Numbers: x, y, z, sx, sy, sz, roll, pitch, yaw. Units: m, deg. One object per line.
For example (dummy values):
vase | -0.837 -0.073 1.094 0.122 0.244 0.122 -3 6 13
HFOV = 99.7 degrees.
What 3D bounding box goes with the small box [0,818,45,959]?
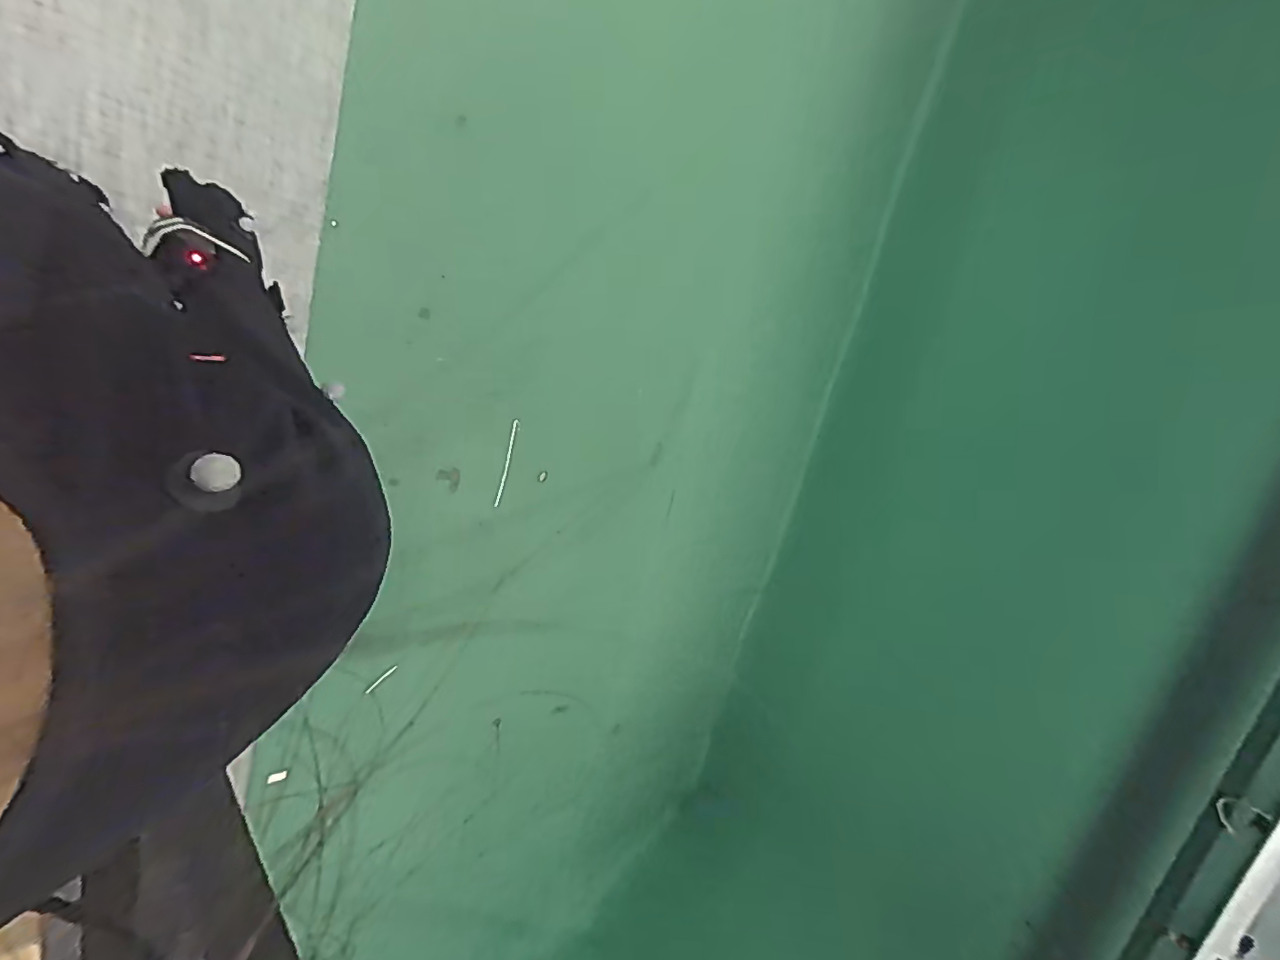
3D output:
small box | -0.725 0.497 0.544 0.168 0.176 0.179 -1 111 -50
